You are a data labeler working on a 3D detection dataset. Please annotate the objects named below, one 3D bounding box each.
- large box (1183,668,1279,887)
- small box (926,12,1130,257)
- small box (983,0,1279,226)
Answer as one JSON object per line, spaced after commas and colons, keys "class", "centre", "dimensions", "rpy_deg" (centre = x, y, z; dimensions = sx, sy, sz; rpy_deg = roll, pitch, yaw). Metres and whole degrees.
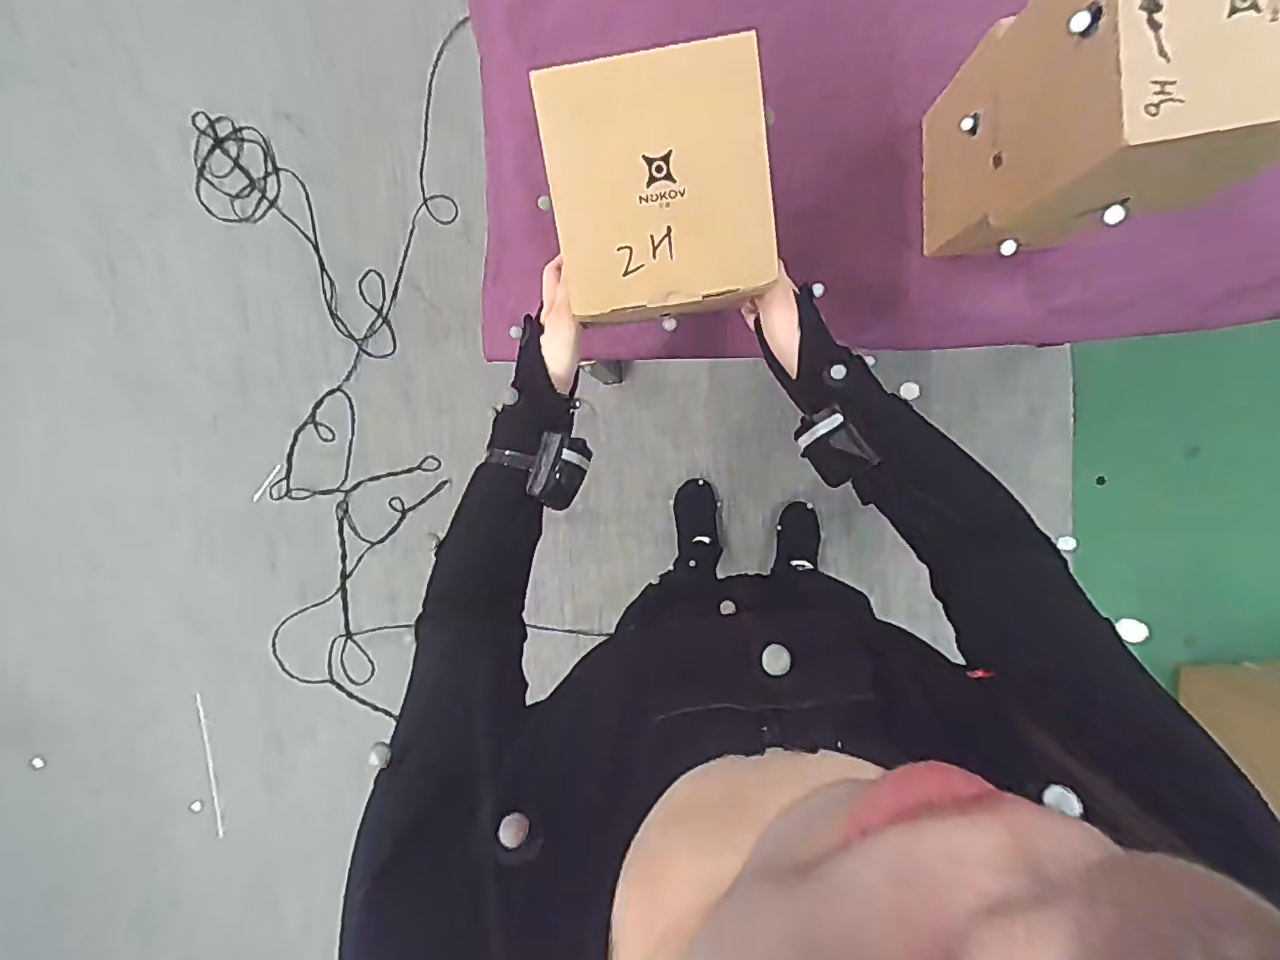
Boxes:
{"class": "large box", "centre": [1.554, 0.690, 1.247], "dimensions": [0.320, 0.320, 0.408], "rpy_deg": [-2, 95, 6]}
{"class": "small box", "centre": [0.433, -0.366, 0.594], "dimensions": [0.168, 0.176, 0.179], "rpy_deg": [-2, 95, 5]}
{"class": "small box", "centre": [0.414, -0.326, 0.434], "dimensions": [0.179, 0.176, 0.168], "rpy_deg": [-6, 94, 5]}
